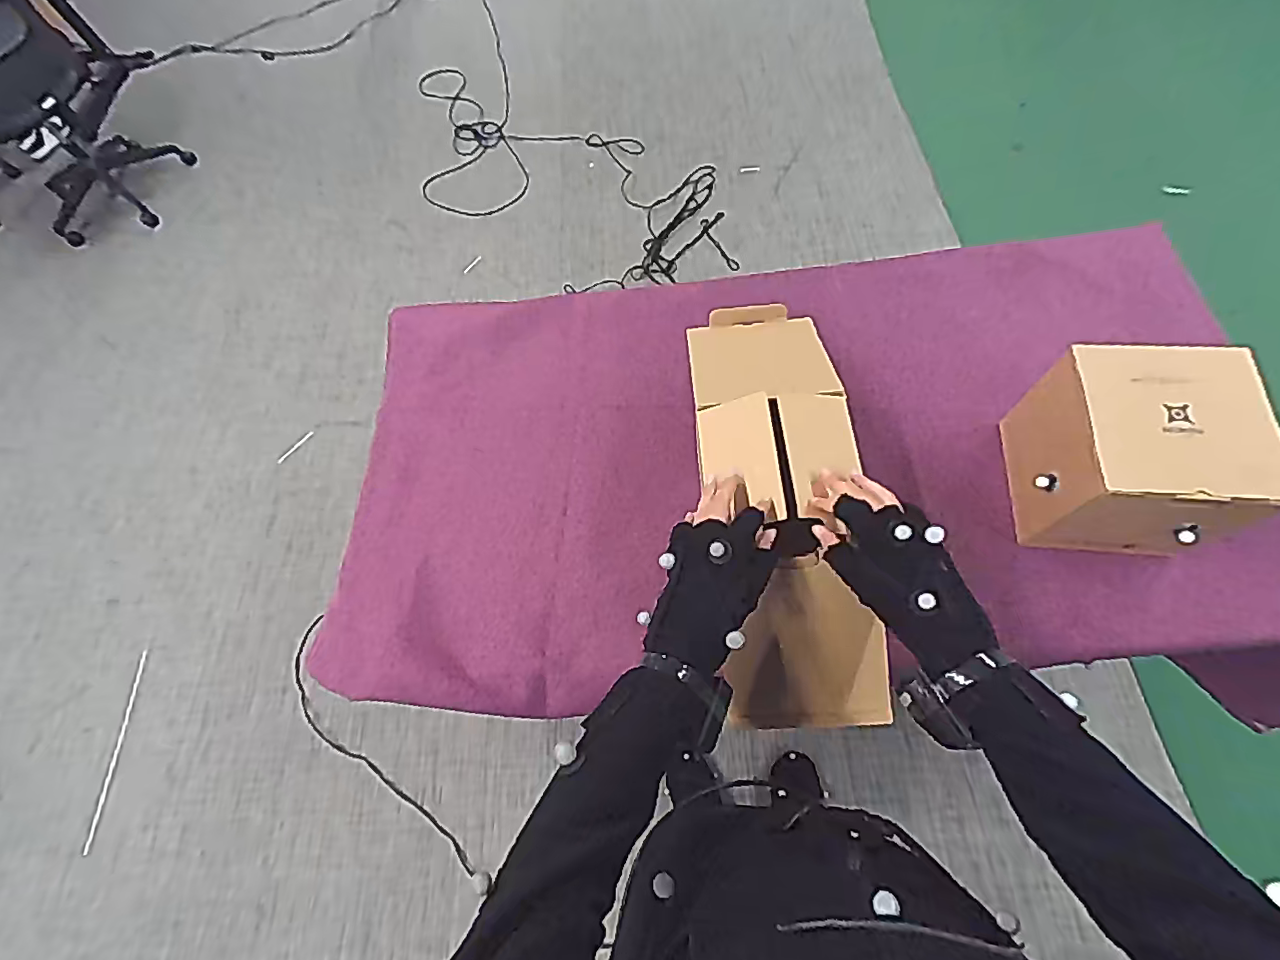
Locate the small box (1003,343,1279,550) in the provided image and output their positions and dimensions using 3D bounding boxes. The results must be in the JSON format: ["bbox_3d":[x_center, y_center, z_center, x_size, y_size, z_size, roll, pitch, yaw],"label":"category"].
[{"bbox_3d":[0.540,-0.030,0.604,0.168,0.176,0.179,4,66,10],"label":"small box"}]
